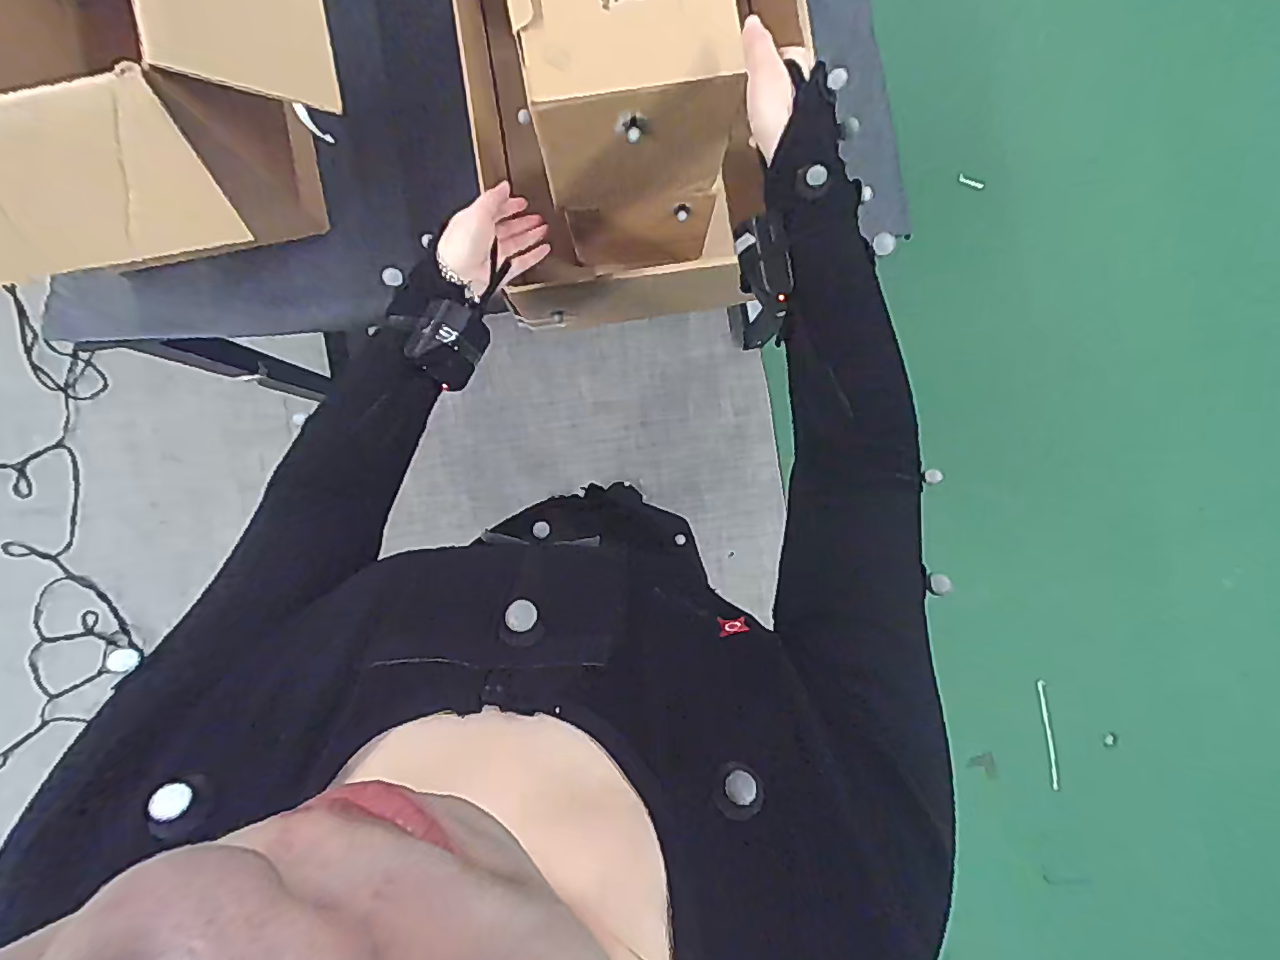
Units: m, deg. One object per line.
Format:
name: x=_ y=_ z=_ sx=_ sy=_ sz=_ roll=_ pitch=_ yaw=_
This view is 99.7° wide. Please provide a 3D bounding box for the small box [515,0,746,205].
small box: x=-0.014 y=-0.383 z=0.506 sx=0.179 sy=0.176 sz=0.168 roll=-9 pitch=91 yaw=-2
